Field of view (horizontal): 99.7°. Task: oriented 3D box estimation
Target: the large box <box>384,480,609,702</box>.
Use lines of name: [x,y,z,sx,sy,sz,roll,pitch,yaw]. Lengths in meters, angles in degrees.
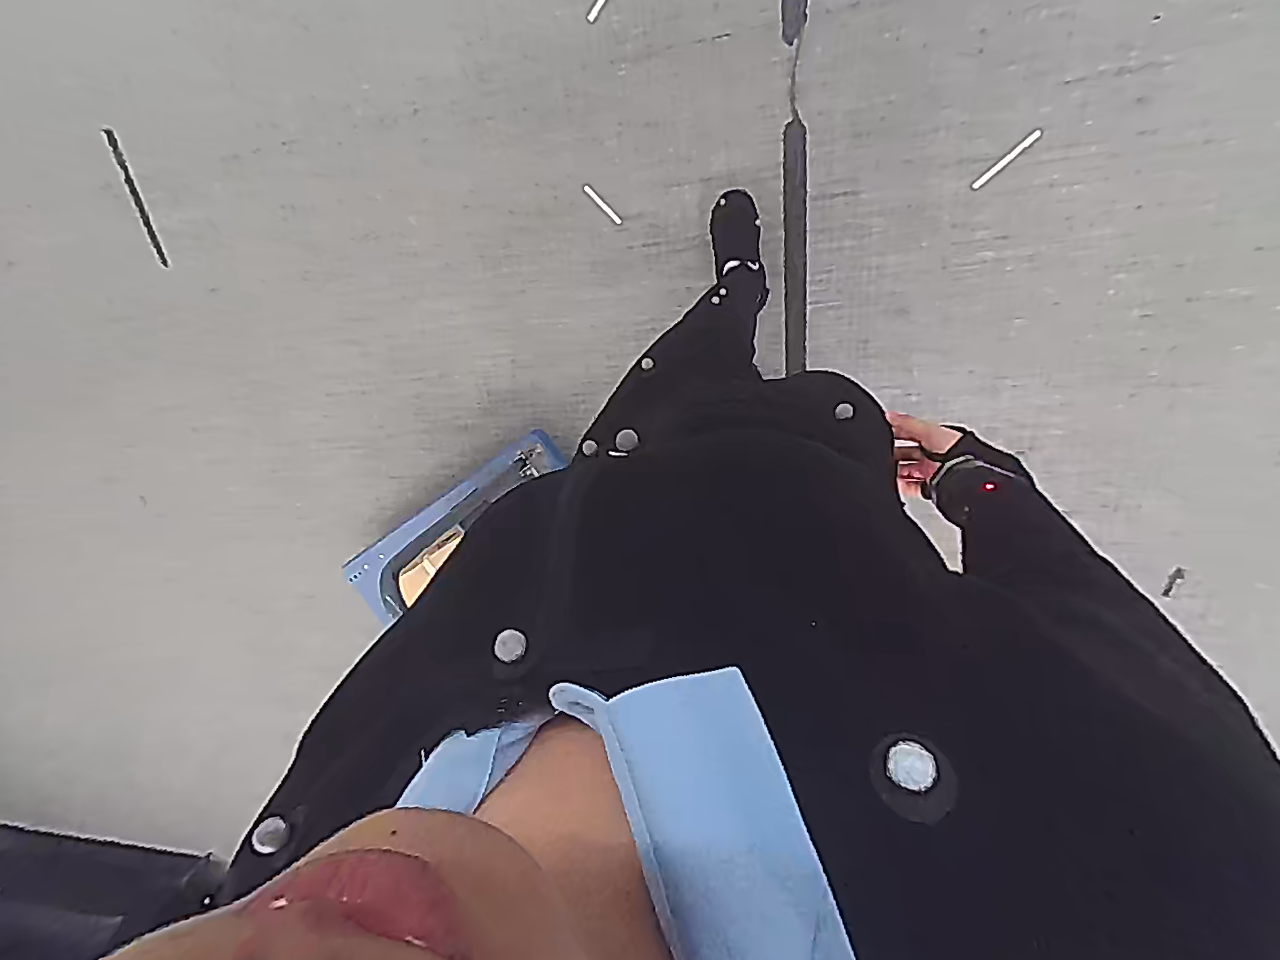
large box: [-0.344,0.277,1.397,0.320,0.320,0.408,-31,102,22]
